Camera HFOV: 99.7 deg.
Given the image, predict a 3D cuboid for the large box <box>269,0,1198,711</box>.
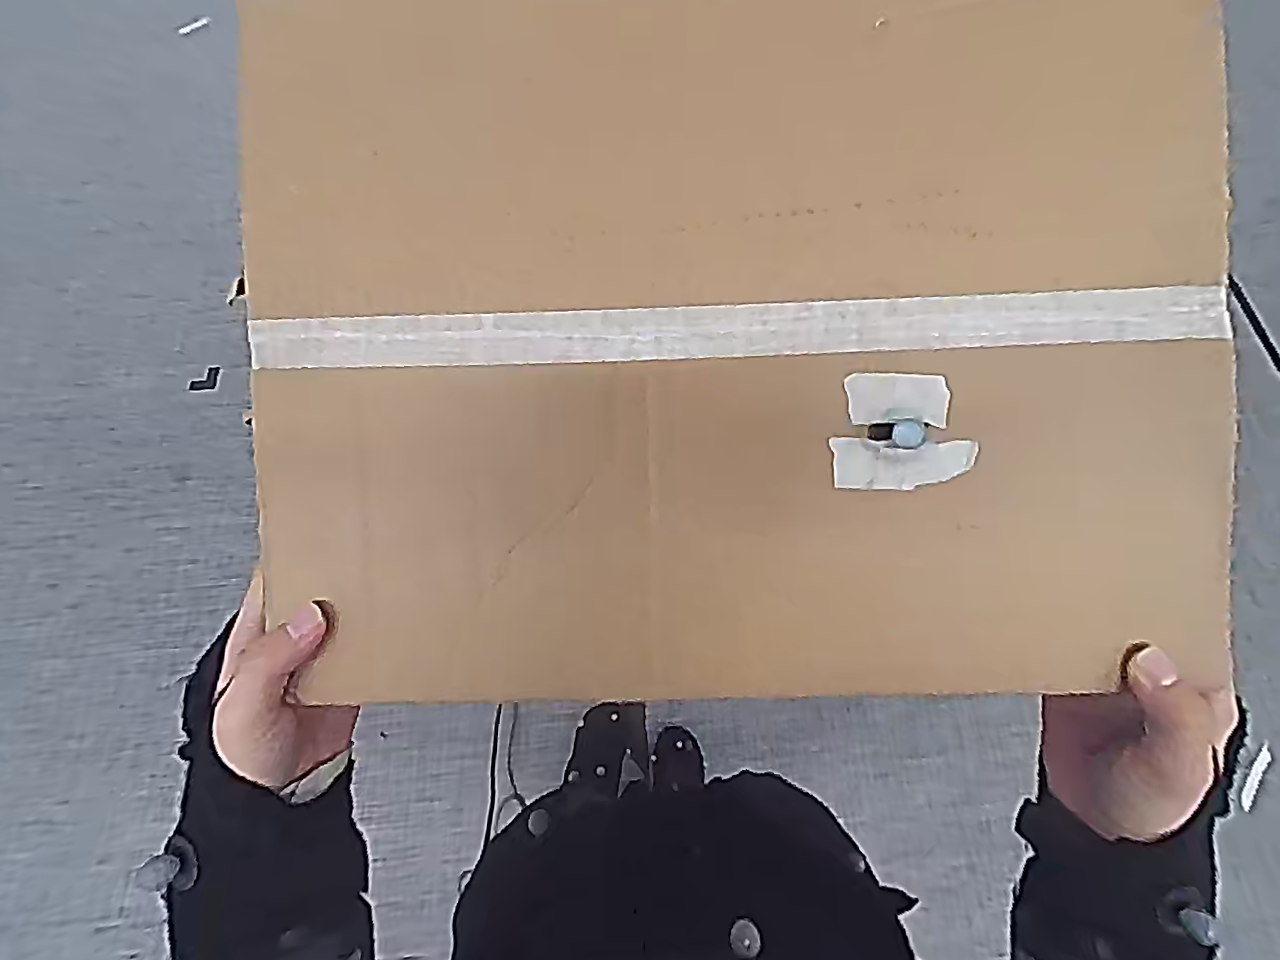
[{"bbox_3d":[0.040,-0.060,0.386,0.408,0.320,0.320,-2,92,0],"label":"large box"}]
